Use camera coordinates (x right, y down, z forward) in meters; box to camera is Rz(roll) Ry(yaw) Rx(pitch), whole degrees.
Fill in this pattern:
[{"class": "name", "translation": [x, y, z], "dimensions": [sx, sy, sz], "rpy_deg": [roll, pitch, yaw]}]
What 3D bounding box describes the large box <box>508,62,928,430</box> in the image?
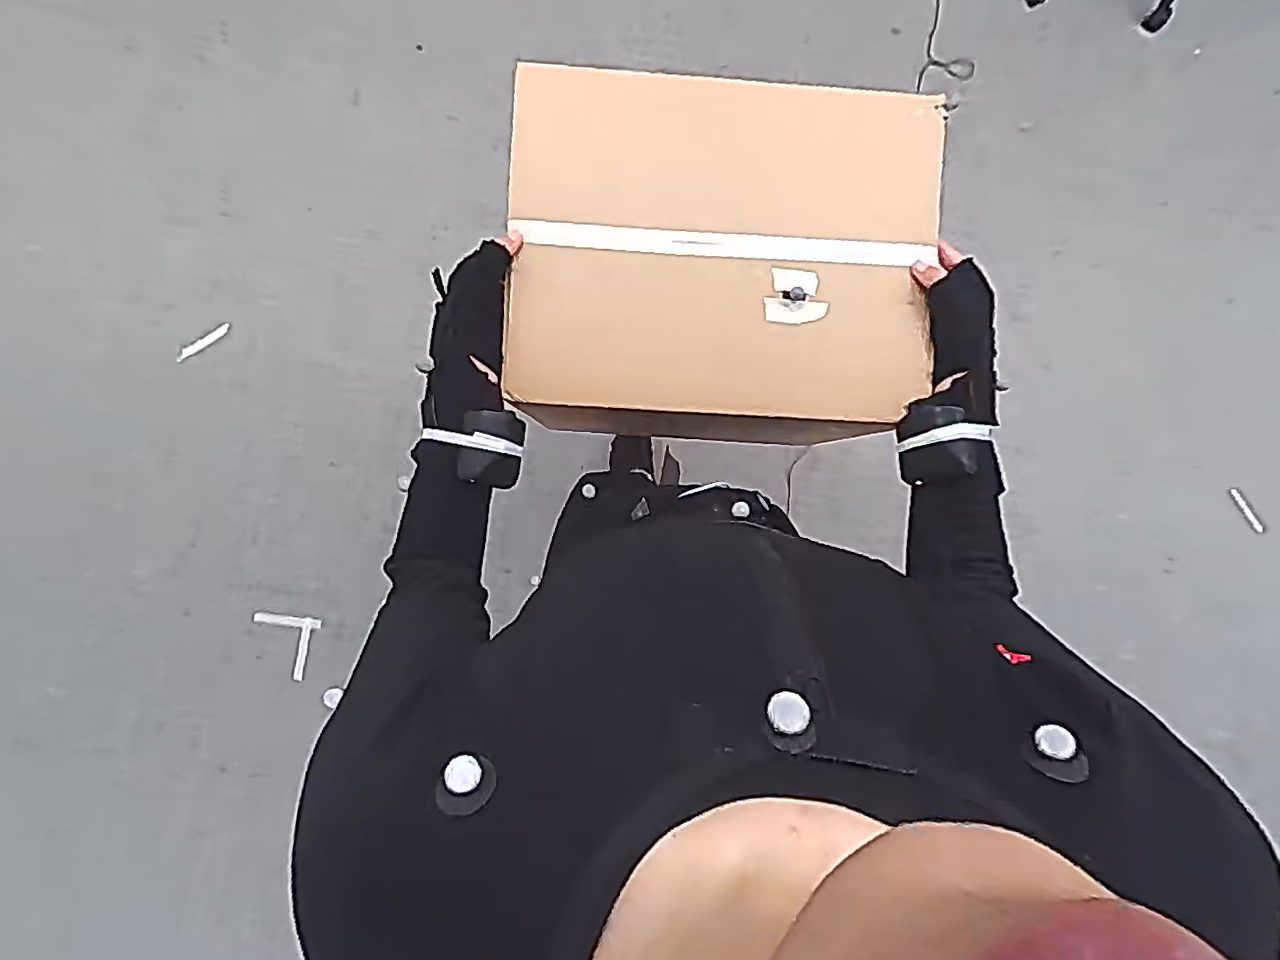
[{"class": "large box", "translation": [0.069, -0.235, 0.668], "dimensions": [0.408, 0.320, 0.320], "rpy_deg": [3, 91, -3]}]
